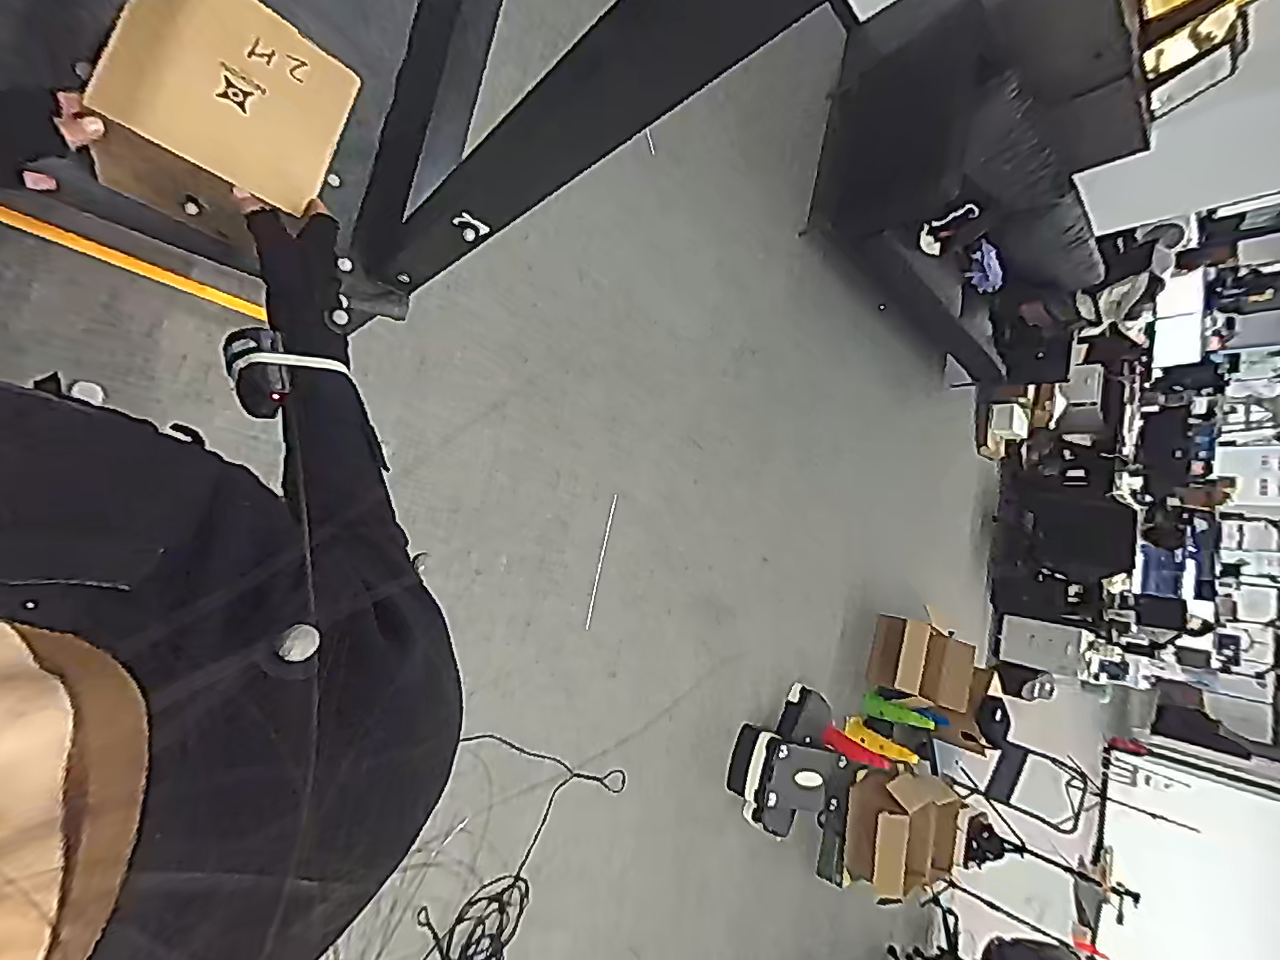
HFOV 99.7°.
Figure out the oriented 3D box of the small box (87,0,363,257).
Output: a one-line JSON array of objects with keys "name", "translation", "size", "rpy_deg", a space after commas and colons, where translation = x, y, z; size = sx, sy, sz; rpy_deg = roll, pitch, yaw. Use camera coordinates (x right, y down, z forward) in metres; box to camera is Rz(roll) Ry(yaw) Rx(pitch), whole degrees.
[{"name": "small box", "translation": [-0.419, -0.363, 0.560], "size": [0.168, 0.176, 0.179], "rpy_deg": [22, 77, -40]}]
